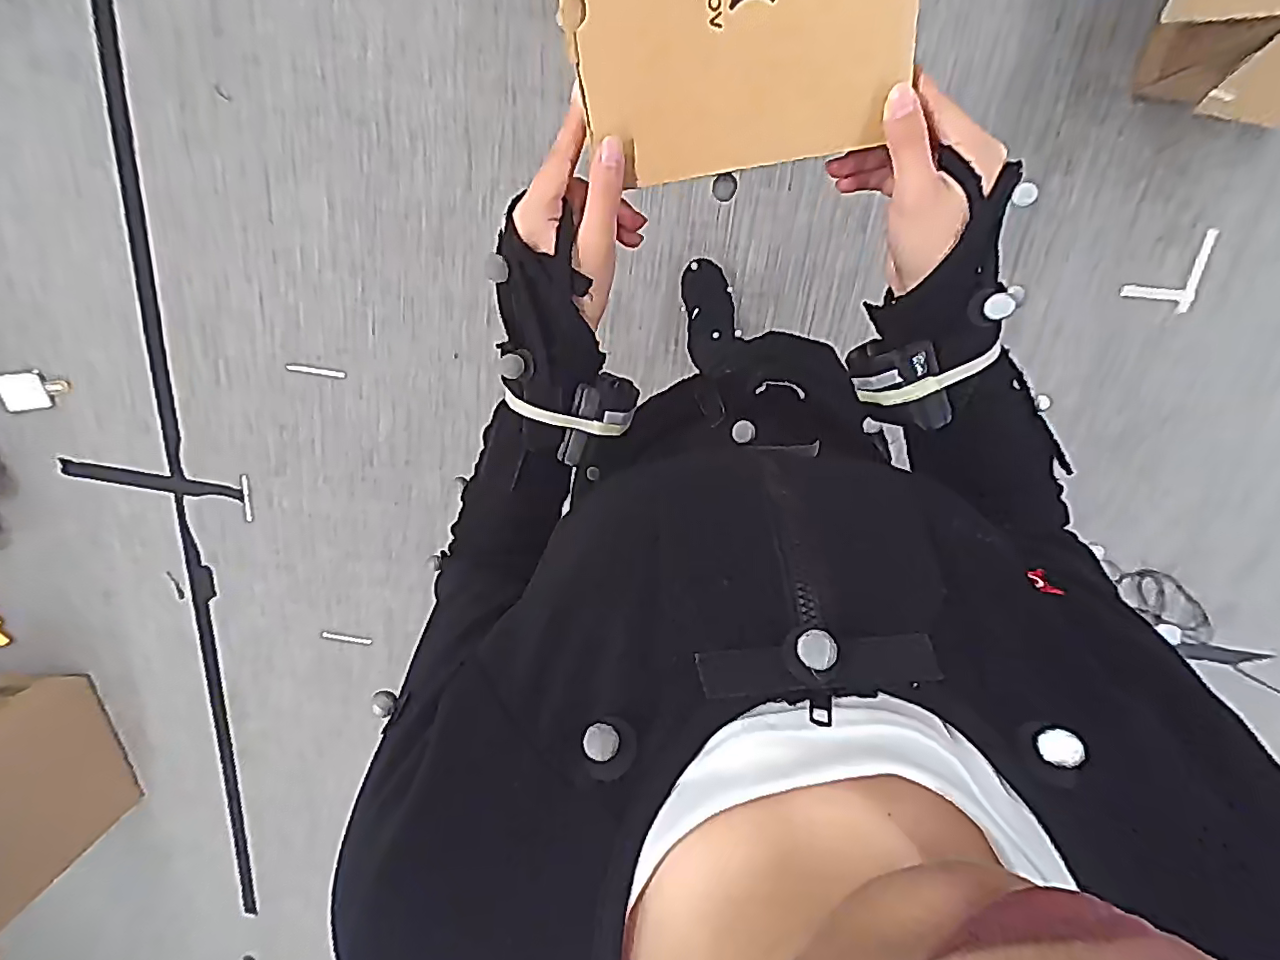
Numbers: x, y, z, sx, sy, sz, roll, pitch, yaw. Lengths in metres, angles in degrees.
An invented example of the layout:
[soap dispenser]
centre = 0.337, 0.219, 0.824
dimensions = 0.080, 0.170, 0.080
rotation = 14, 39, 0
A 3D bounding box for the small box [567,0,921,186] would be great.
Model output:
[small box]
centre = 0.047, -0.289, 0.327
dimensions = 0.179, 0.176, 0.168
rotation = -8, 121, 4
